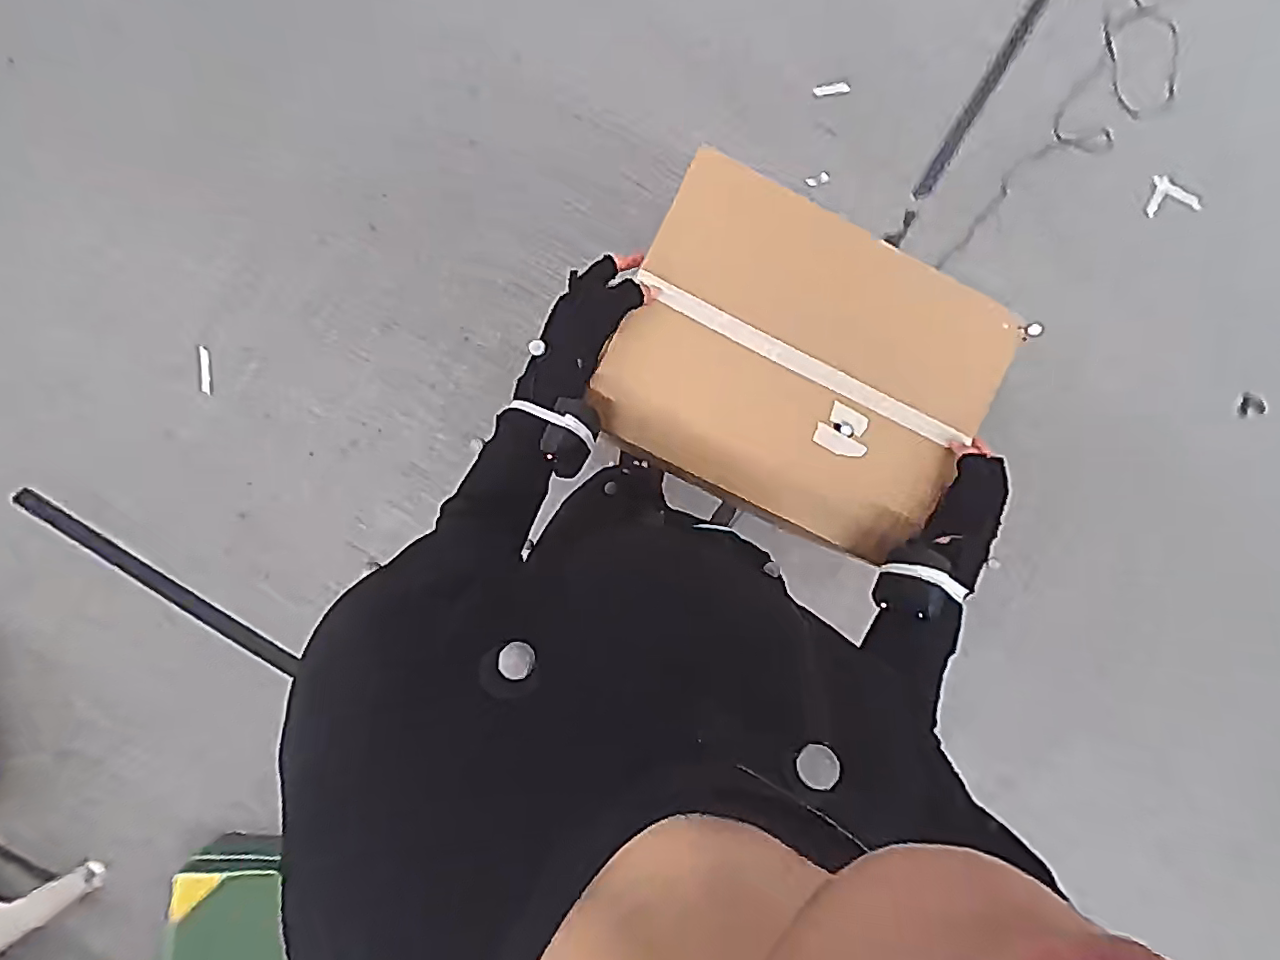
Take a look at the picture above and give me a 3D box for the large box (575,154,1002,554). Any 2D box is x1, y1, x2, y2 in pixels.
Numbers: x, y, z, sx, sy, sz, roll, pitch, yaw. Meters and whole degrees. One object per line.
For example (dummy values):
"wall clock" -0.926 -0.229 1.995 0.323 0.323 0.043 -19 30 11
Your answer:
"large box" 0.157 -0.140 0.743 0.408 0.320 0.320 26 91 -5
